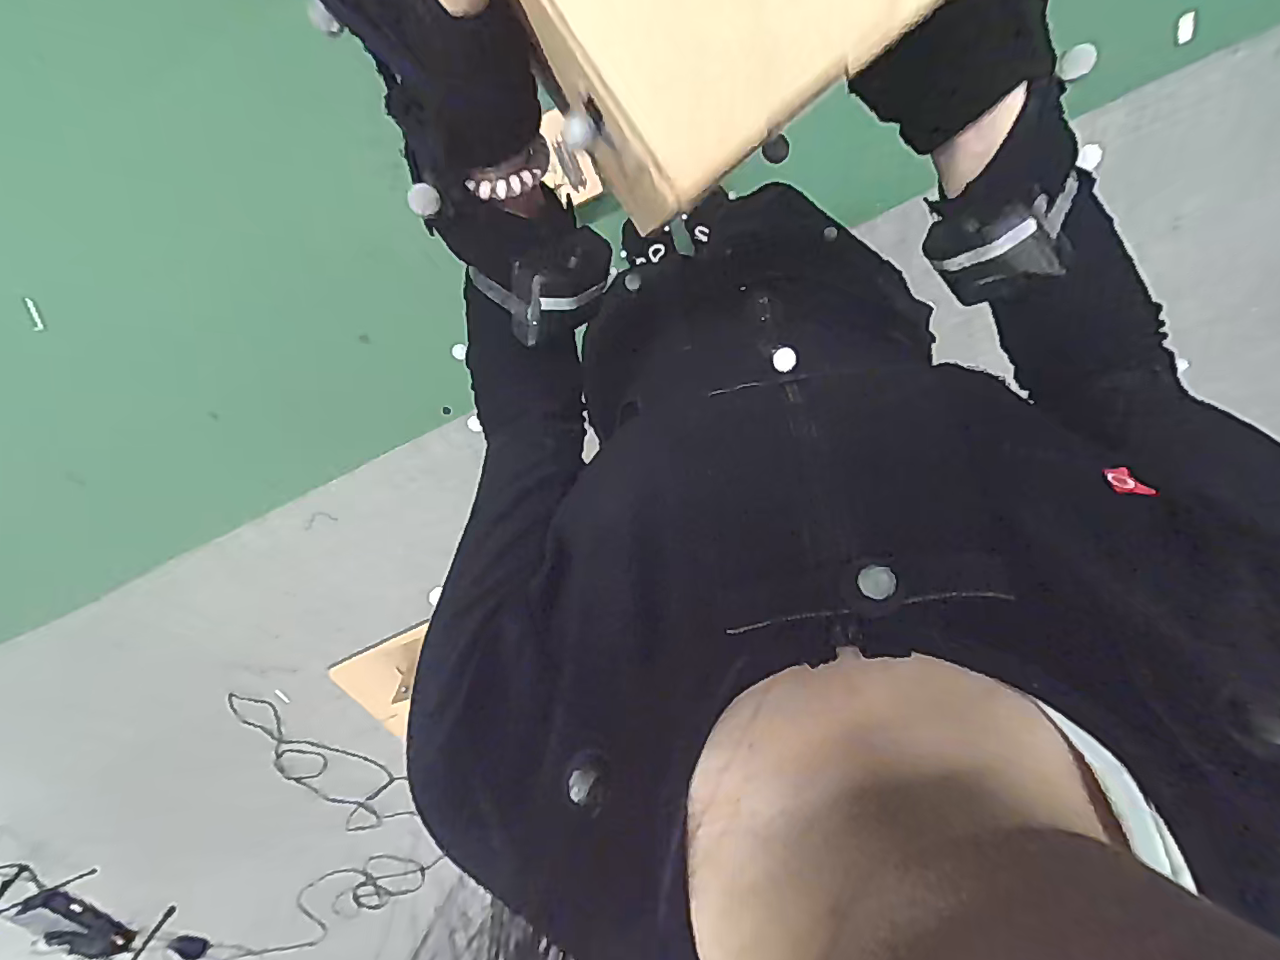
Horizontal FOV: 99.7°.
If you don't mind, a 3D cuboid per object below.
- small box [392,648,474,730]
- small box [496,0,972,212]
[{"bbox_3d":[-0.693,0.704,1.831,0.179,0.176,0.168,-23,117,9],"label":"small box"},{"bbox_3d":[0.025,-0.224,0.199,0.168,0.176,0.179,-36,113,11],"label":"small box"}]
